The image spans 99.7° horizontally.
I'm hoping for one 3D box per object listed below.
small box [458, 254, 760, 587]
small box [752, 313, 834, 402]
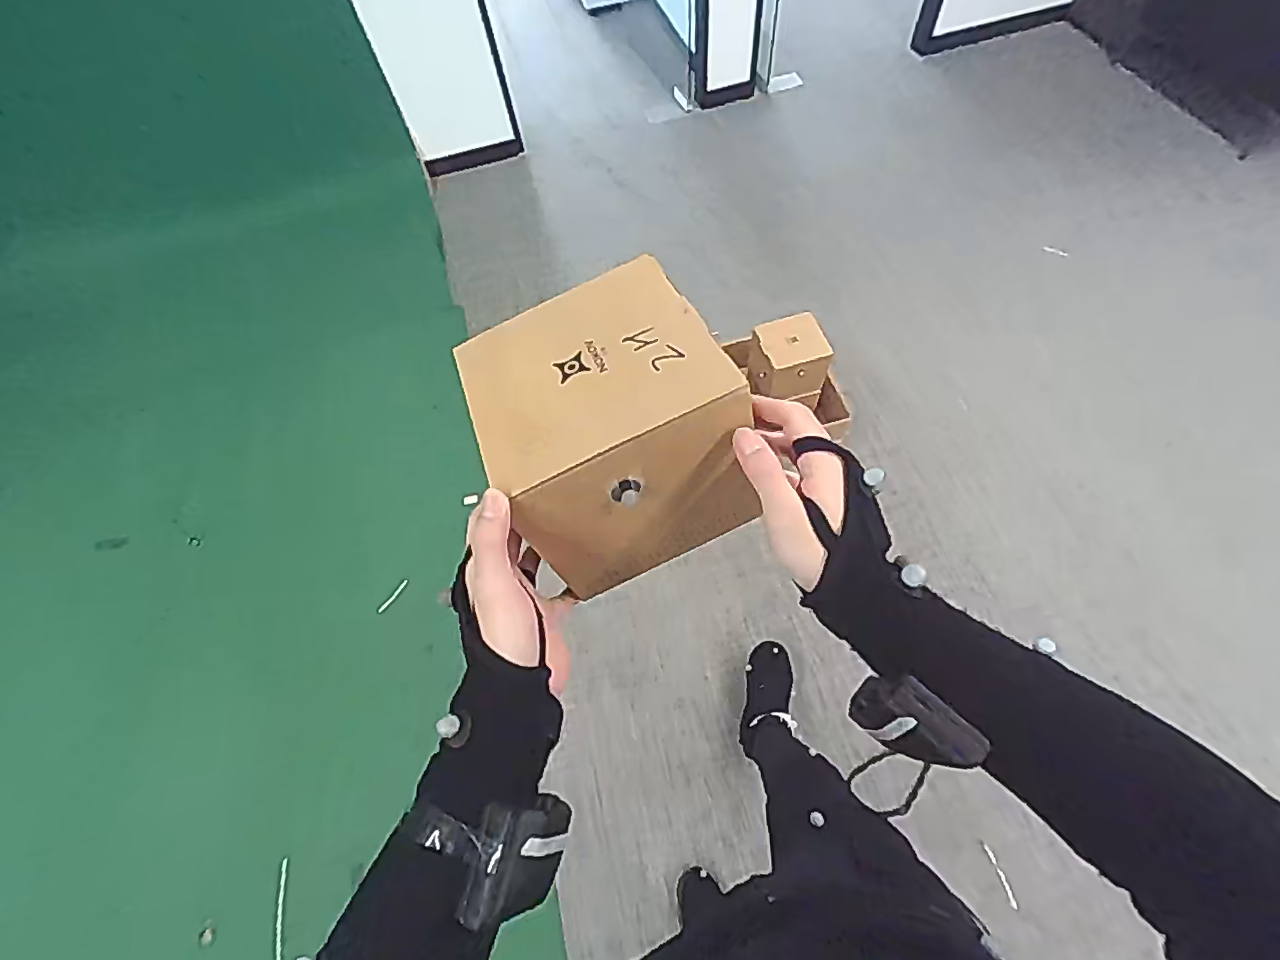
[{"bbox_3d":[-0.018,-0.039,0.440,0.179,0.176,0.168,-25,54,-1],"label":"small box"},{"bbox_3d":[0.437,-0.351,1.581,0.179,0.176,0.168,-16,63,-3],"label":"small box"}]
